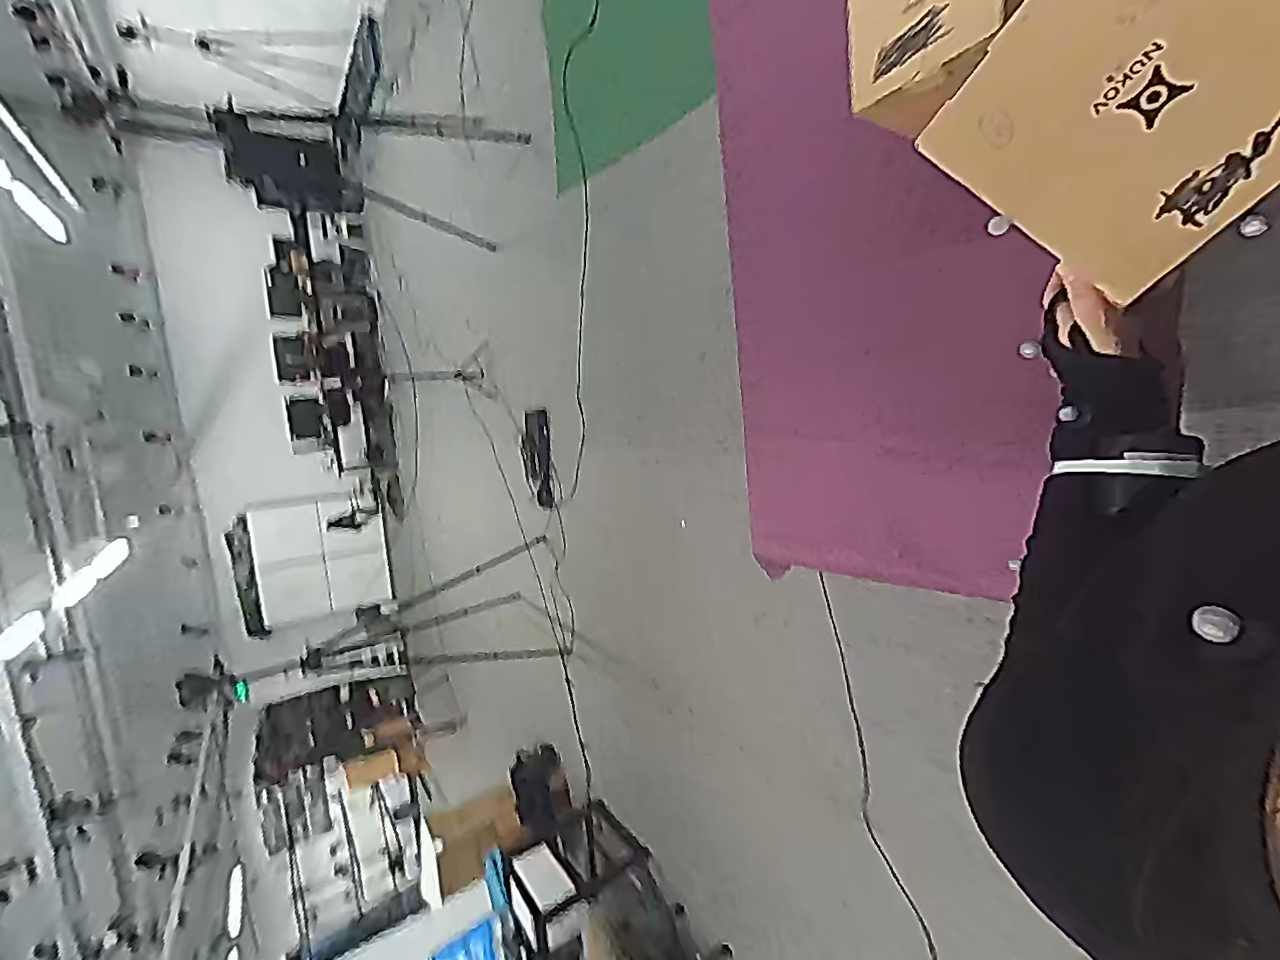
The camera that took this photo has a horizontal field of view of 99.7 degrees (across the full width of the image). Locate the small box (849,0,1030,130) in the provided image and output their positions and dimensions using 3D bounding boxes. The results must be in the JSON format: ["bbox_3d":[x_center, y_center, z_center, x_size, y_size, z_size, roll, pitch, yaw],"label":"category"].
[{"bbox_3d":[0.369,-0.544,0.636,0.168,0.176,0.179,5,102,55],"label":"small box"}]

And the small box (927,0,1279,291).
[{"bbox_3d":[0.340,-0.246,0.363,0.179,0.176,0.168,53,132,15],"label":"small box"}]
